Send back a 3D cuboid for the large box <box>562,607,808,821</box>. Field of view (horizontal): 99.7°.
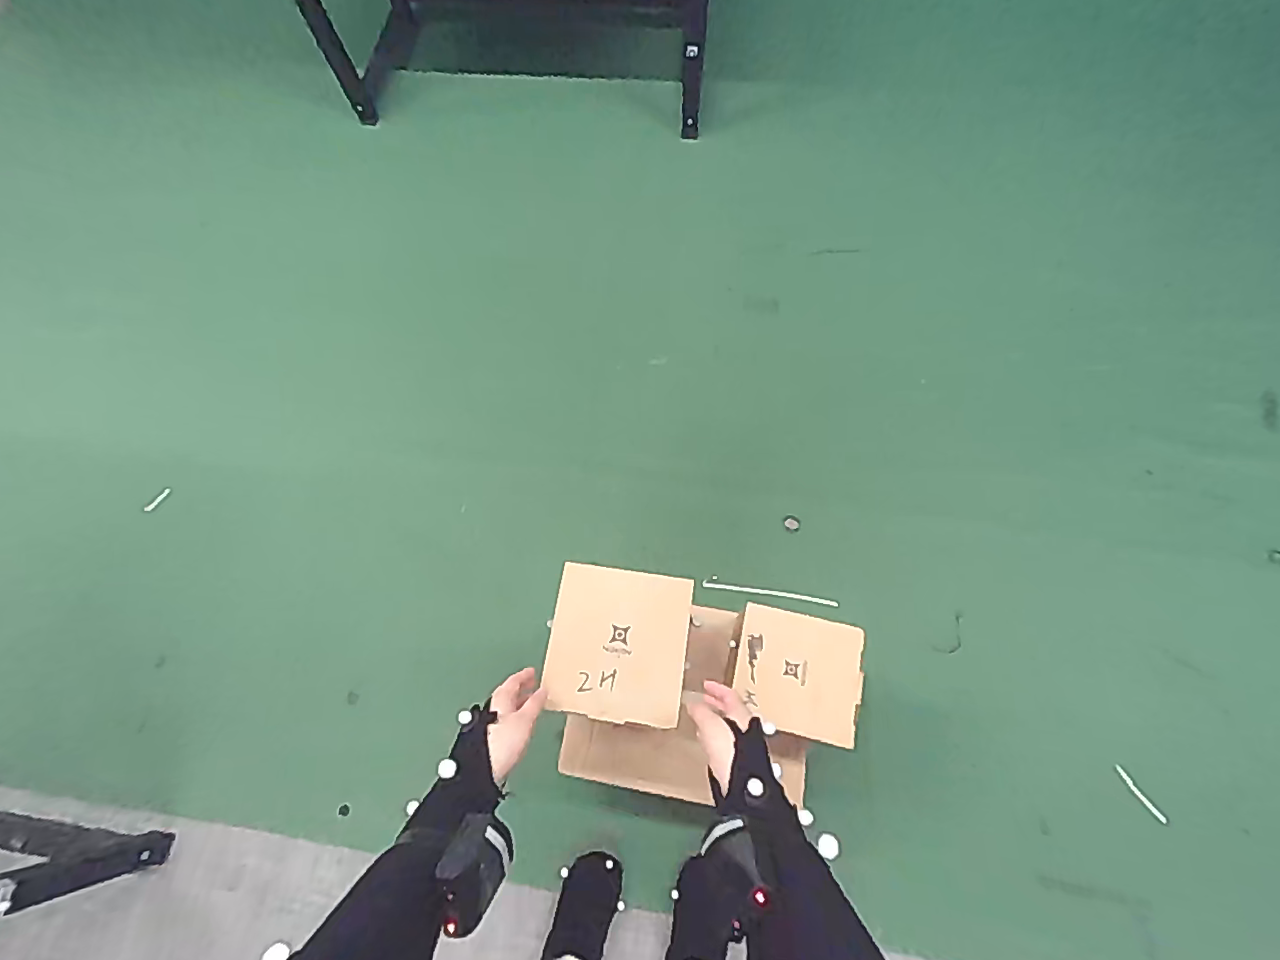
[{"bbox_3d":[0.092,0.427,1.059,0.408,0.320,0.320,8,70,6],"label":"large box"}]

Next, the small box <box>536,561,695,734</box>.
[{"bbox_3d":[-0.023,0.220,0.709,0.168,0.176,0.179,7,69,6],"label":"small box"}]

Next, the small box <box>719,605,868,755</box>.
[{"bbox_3d":[0.229,0.305,0.835,0.179,0.176,0.168,13,69,8],"label":"small box"}]
